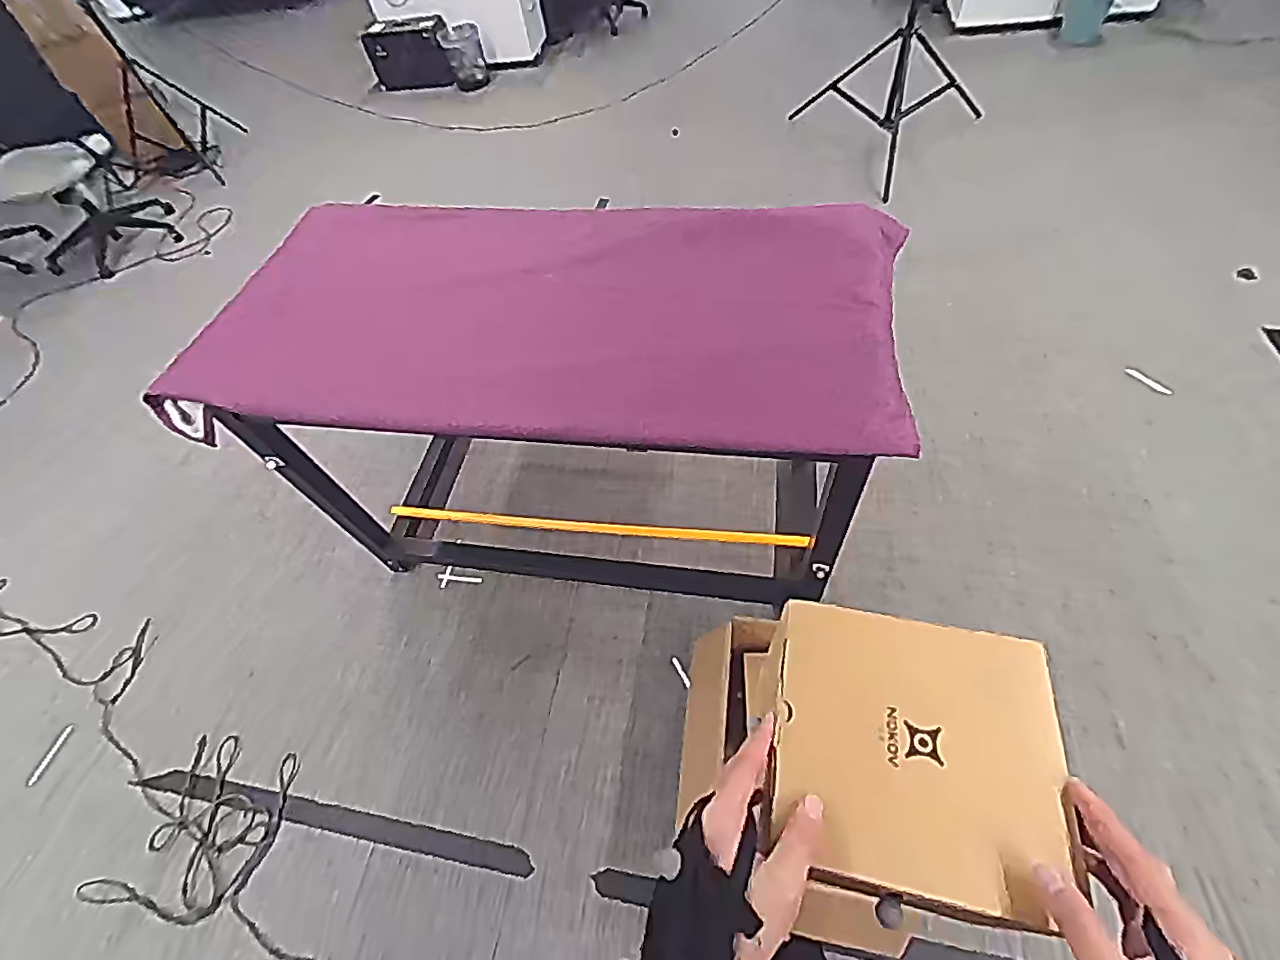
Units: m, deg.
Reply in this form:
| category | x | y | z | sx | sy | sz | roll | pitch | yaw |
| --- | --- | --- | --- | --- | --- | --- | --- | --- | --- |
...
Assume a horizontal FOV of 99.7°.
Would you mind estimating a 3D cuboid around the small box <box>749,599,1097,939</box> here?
| category | x | y | z | sx | sy | sz | roll | pitch | yaw |
| --- | --- | --- | --- | --- | --- | --- | --- | --- | --- |
| small box | 0.185 | 0.211 | 0.411 | 0.179 | 0.176 | 0.168 | 7 | 56 | 12 |
